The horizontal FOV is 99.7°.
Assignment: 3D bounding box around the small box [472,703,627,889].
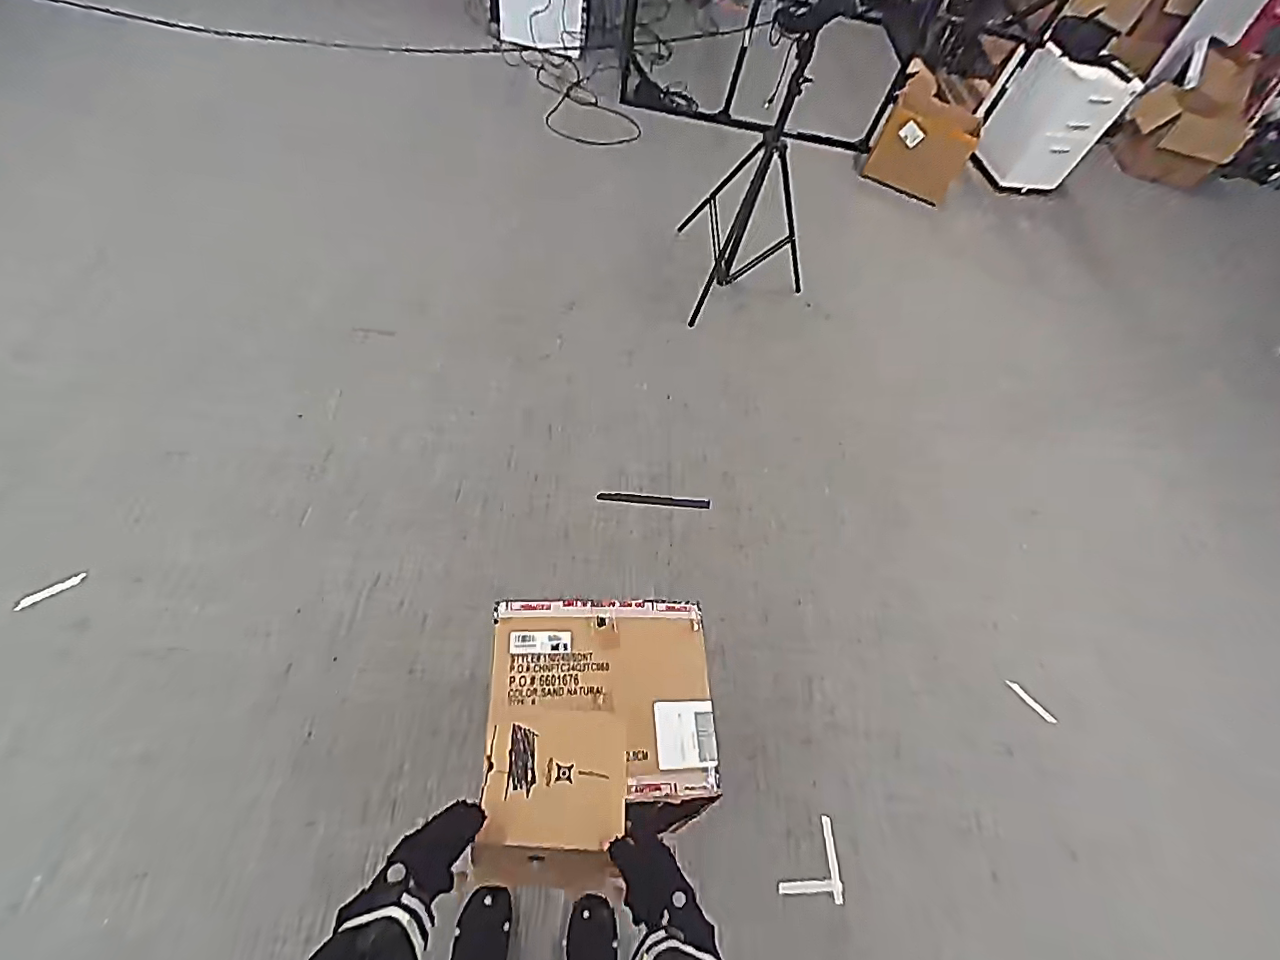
[{"bbox_3d":[-0.118,0.423,0.721,0.179,0.176,0.168,9,39,-8],"label":"small box"}]
